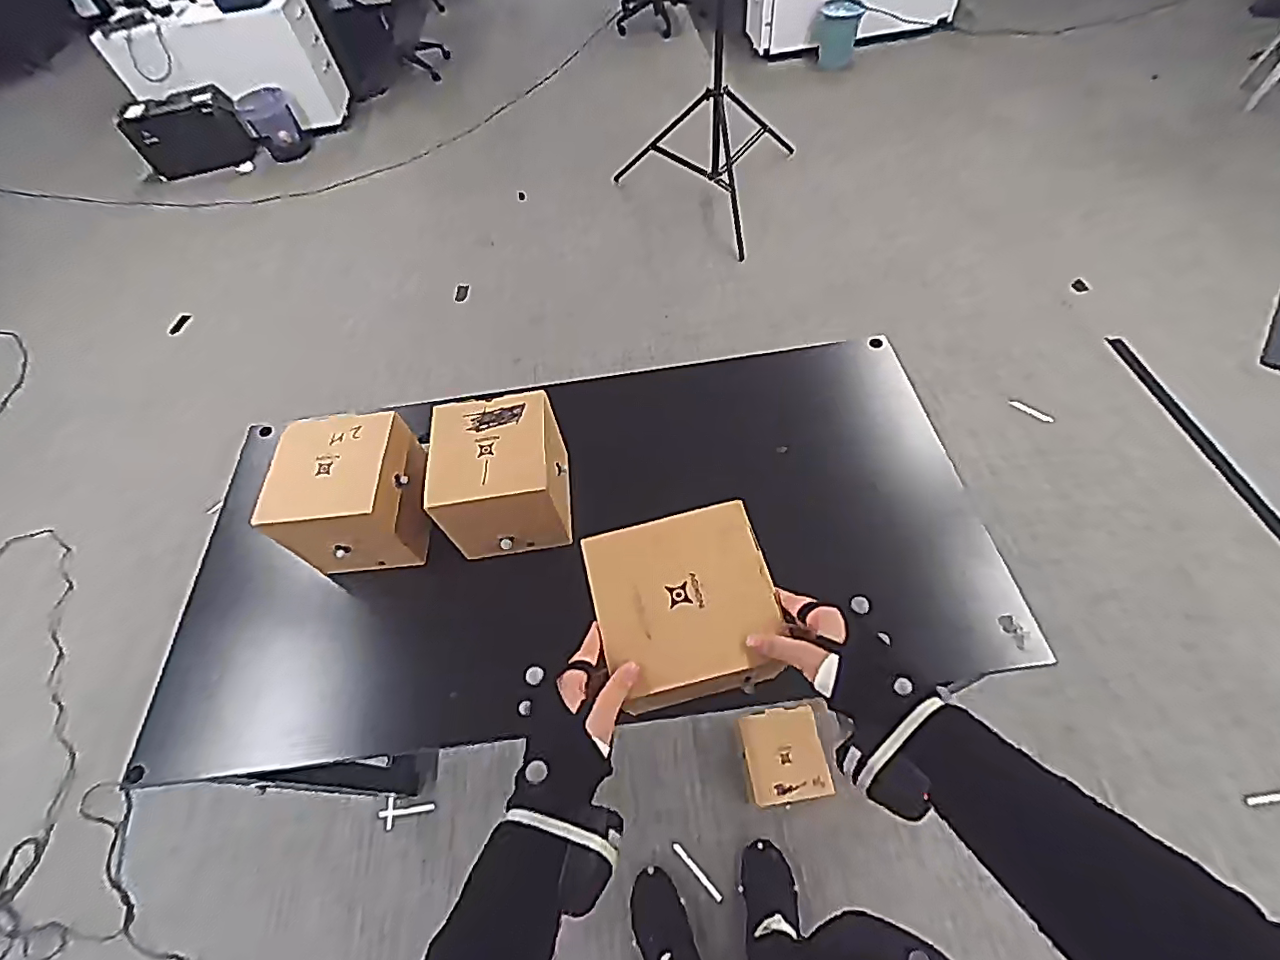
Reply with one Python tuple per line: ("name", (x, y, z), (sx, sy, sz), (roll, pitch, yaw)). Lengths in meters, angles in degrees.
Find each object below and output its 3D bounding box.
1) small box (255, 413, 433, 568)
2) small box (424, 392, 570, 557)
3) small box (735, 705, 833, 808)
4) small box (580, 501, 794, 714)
("small box", (-0.426, 0.024, 0.821), (0.168, 0.176, 0.179), (-5, 57, 2))
("small box", (-0.204, -0.004, 0.814), (0.168, 0.176, 0.179), (-9, 58, 1))
("small box", (0.313, 0.626, 1.219), (0.168, 0.176, 0.179), (-10, 56, 1))
("small box", (0.047, 0.147, 0.597), (0.179, 0.176, 0.168), (-16, 62, -1))
